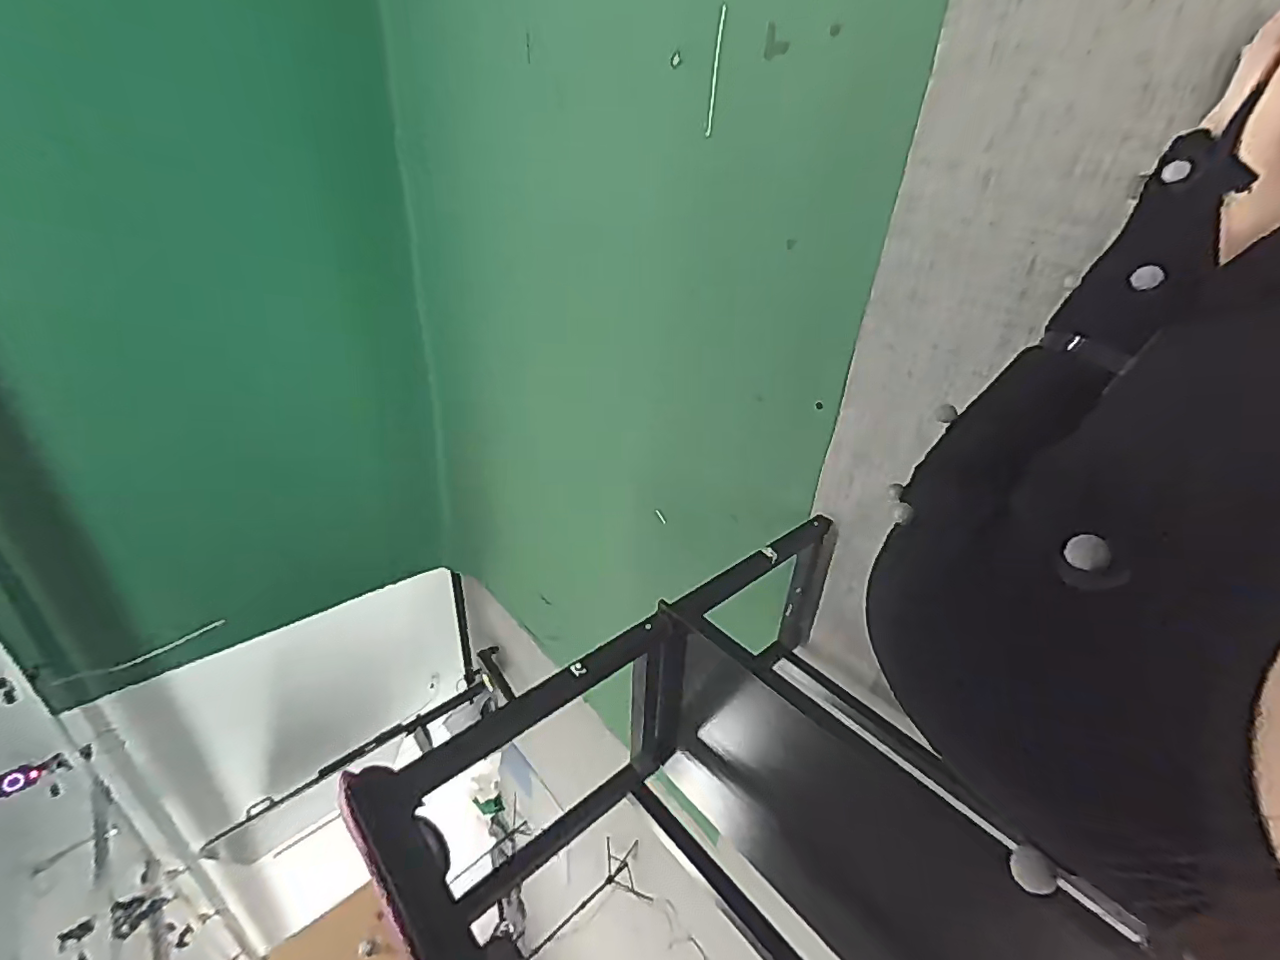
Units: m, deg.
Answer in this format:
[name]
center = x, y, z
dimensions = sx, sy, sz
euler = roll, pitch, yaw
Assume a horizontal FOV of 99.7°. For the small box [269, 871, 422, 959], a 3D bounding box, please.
[small box]
center = -0.441, 0.768, 0.839
dimensions = 0.168, 0.176, 0.179
euler = 35, 131, 36
